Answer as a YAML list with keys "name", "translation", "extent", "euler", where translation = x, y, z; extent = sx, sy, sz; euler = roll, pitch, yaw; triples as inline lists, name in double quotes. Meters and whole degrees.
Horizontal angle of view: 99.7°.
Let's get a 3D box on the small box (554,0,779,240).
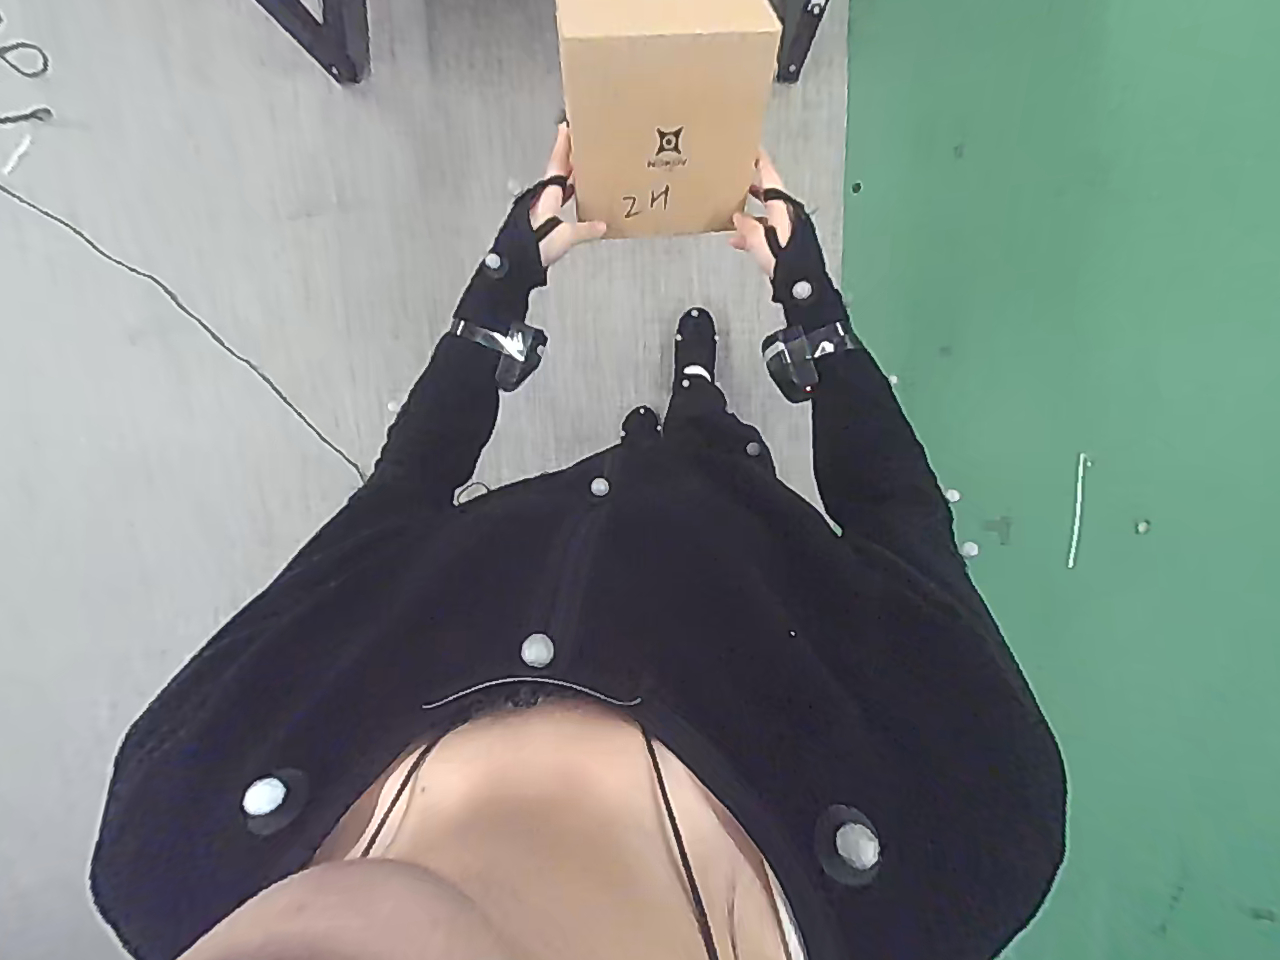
- name: "small box"
  translation: [0.011, -0.359, 0.509]
  extent: [0.168, 0.179, 0.176]
  euler: [-6, 62, -5]
